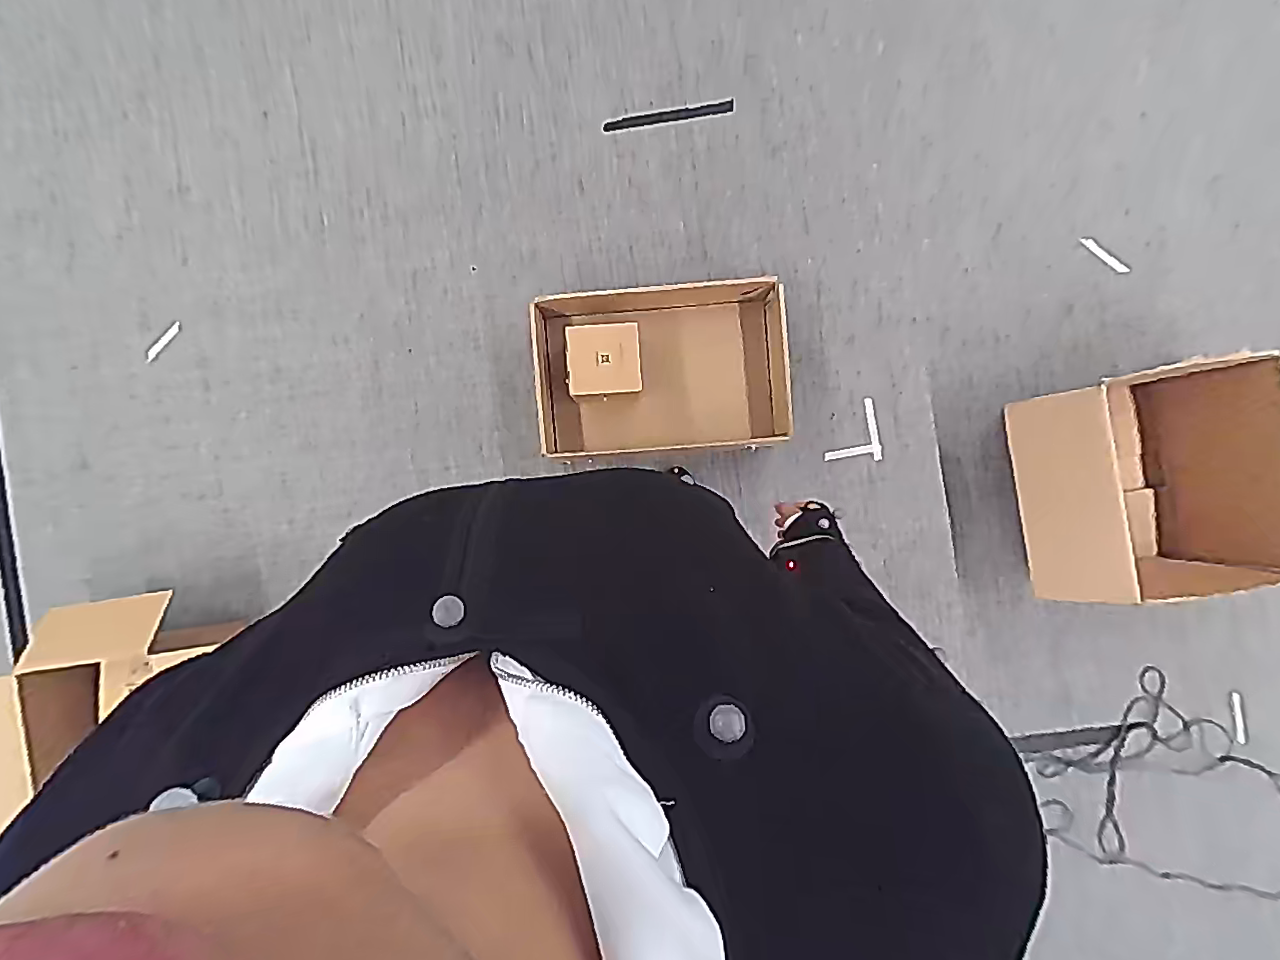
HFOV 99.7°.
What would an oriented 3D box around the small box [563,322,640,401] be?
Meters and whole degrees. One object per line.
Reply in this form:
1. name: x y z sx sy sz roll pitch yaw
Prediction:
1. small box: -0.093 -0.295 1.375 0.179 0.176 0.168 -4 93 -2
